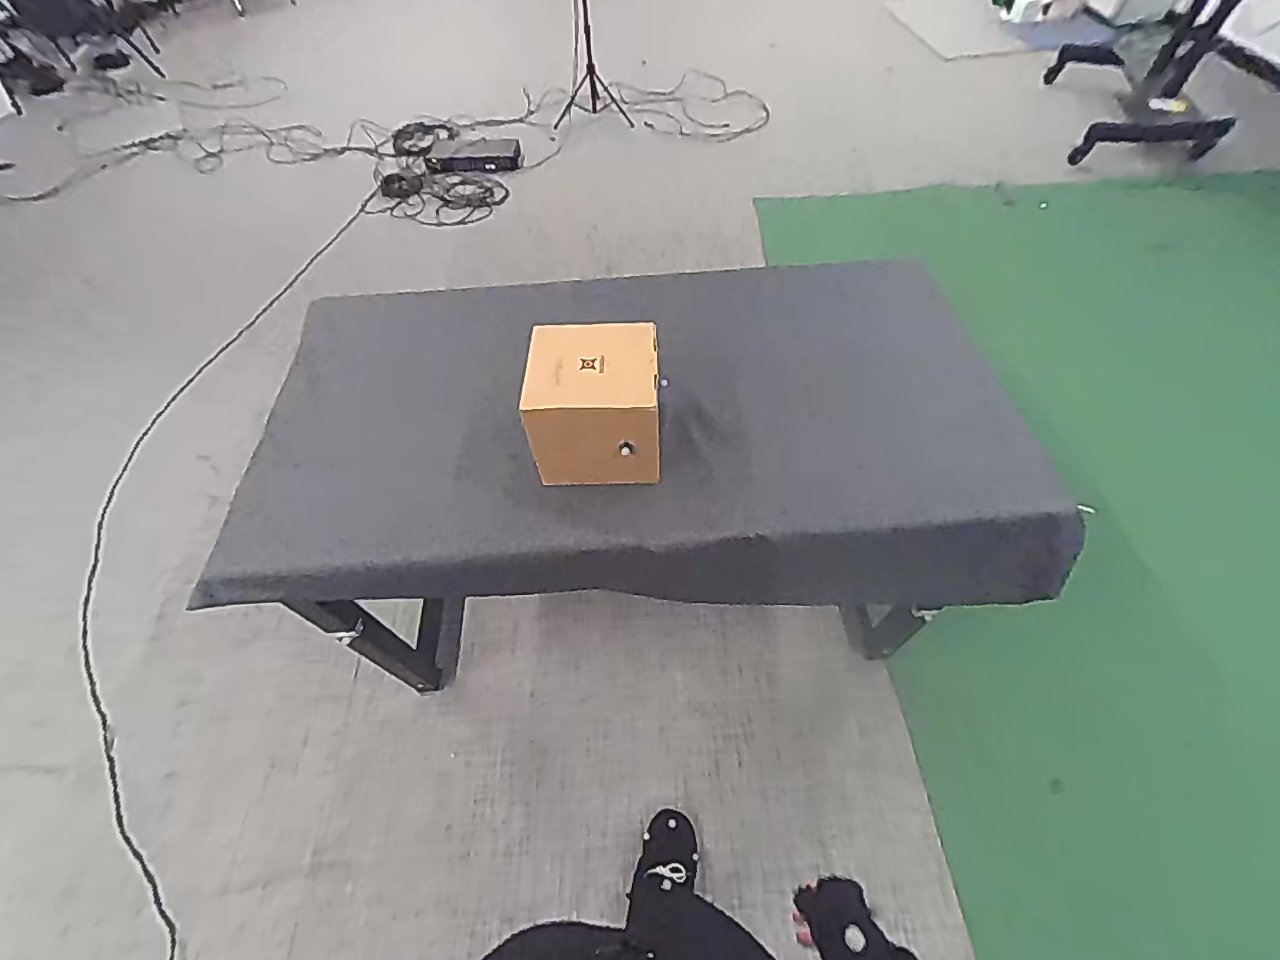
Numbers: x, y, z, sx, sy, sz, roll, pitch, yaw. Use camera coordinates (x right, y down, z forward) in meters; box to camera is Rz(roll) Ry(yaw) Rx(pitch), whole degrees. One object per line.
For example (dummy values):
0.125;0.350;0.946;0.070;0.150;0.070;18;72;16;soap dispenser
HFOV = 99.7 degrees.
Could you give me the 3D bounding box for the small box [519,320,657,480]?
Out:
-0.064;-0.113;0.794;0.179;0.176;0.168;-2;54;3;small box
